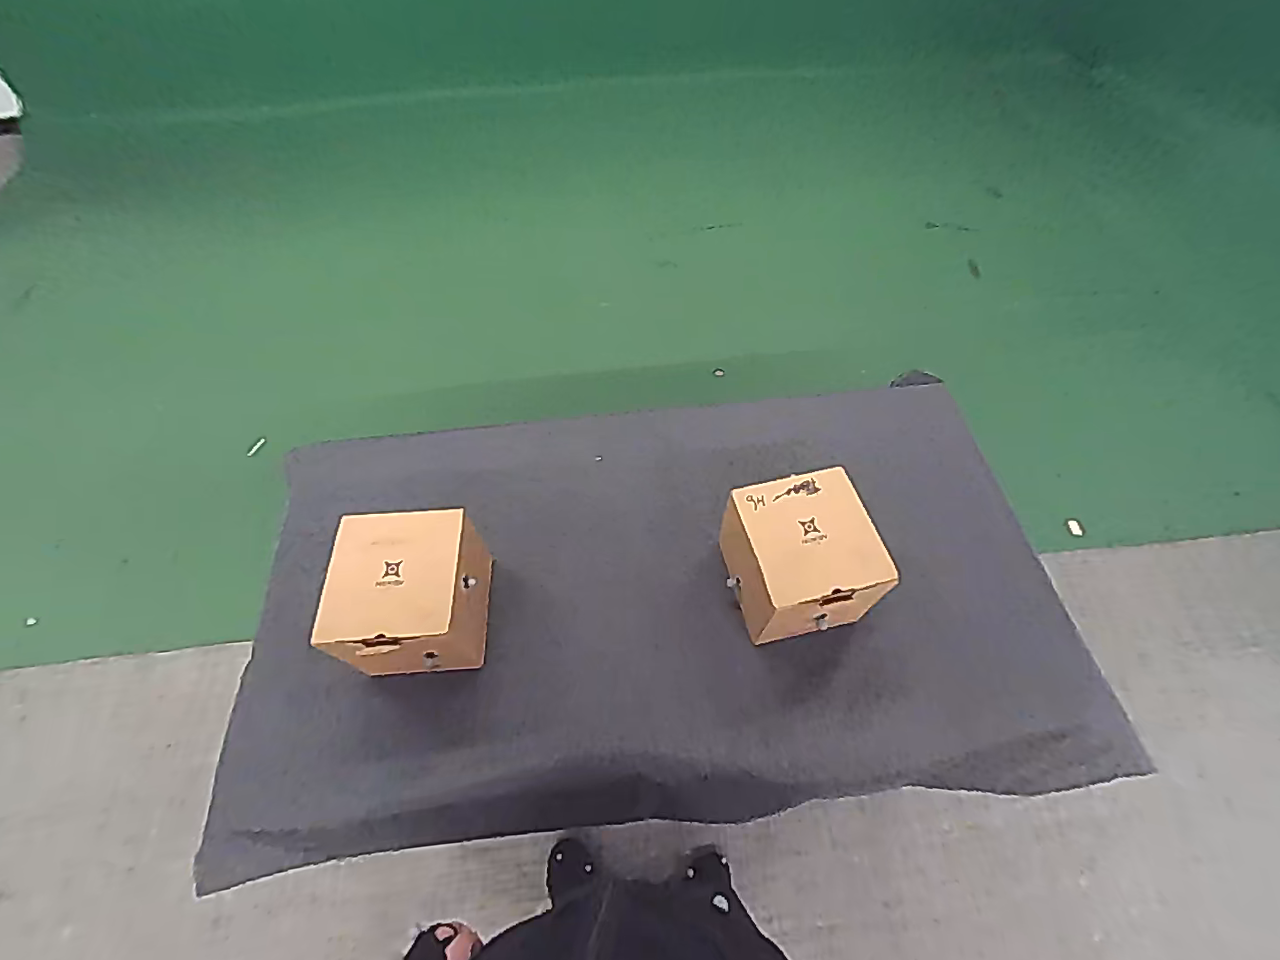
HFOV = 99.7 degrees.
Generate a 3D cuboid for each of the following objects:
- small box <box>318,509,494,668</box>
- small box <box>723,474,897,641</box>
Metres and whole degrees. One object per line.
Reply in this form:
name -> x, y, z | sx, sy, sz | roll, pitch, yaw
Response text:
small box -> -0.309, 0.158, 0.759 | 0.168, 0.176, 0.179 | -2, 57, -3
small box -> 0.227, 0.119, 0.775 | 0.168, 0.176, 0.179 | -11, 59, -6
